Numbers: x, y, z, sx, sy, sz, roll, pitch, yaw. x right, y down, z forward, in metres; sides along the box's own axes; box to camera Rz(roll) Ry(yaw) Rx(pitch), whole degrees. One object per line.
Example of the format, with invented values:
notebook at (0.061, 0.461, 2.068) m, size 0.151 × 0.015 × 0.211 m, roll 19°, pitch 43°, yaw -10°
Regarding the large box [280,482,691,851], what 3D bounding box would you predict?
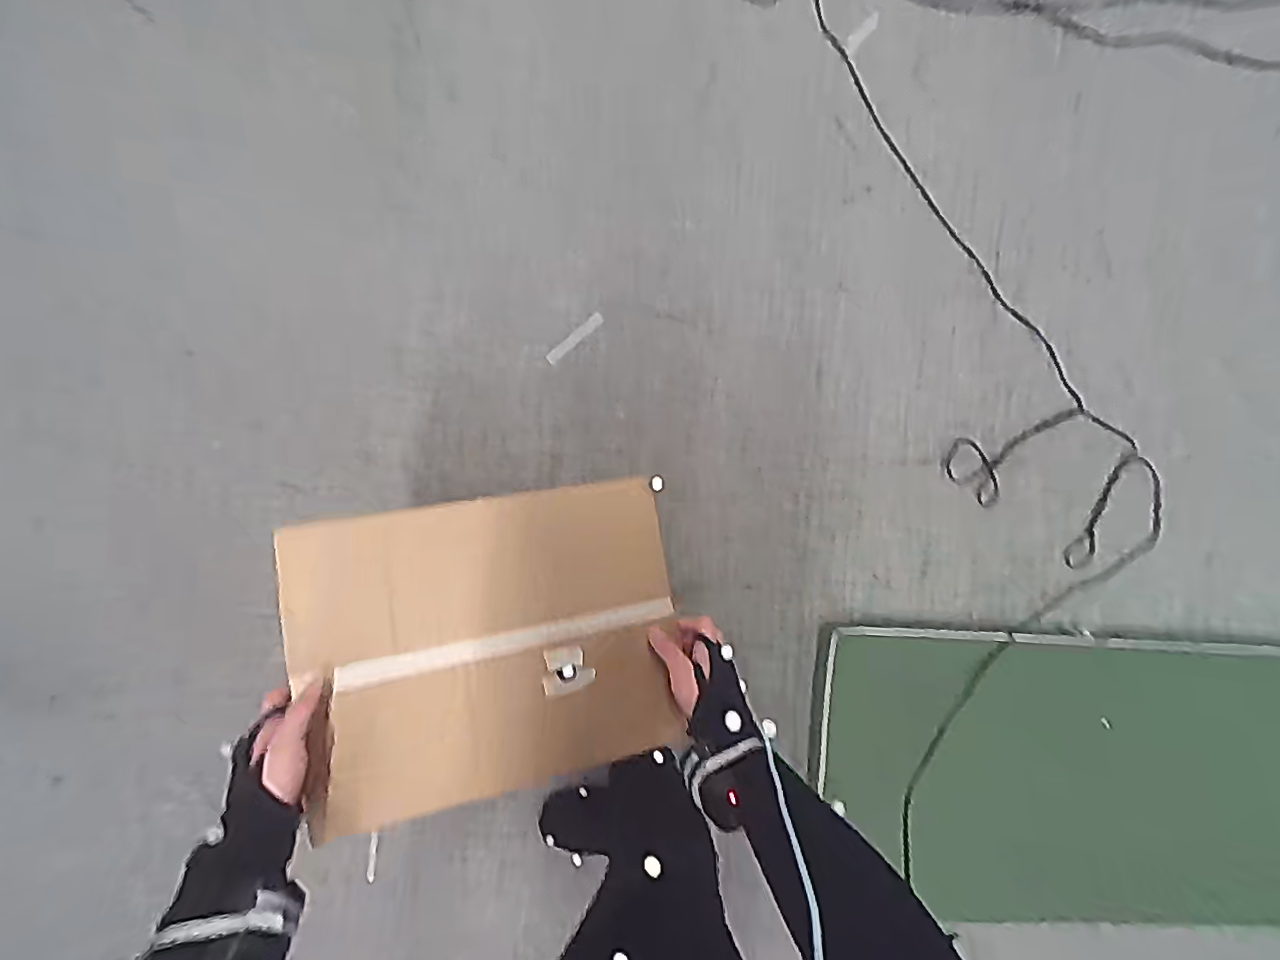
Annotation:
large box at (-0.195, 0.204, 0.736) m, size 0.408 × 0.320 × 0.320 m, roll -9°, pitch 85°, yaw -17°
